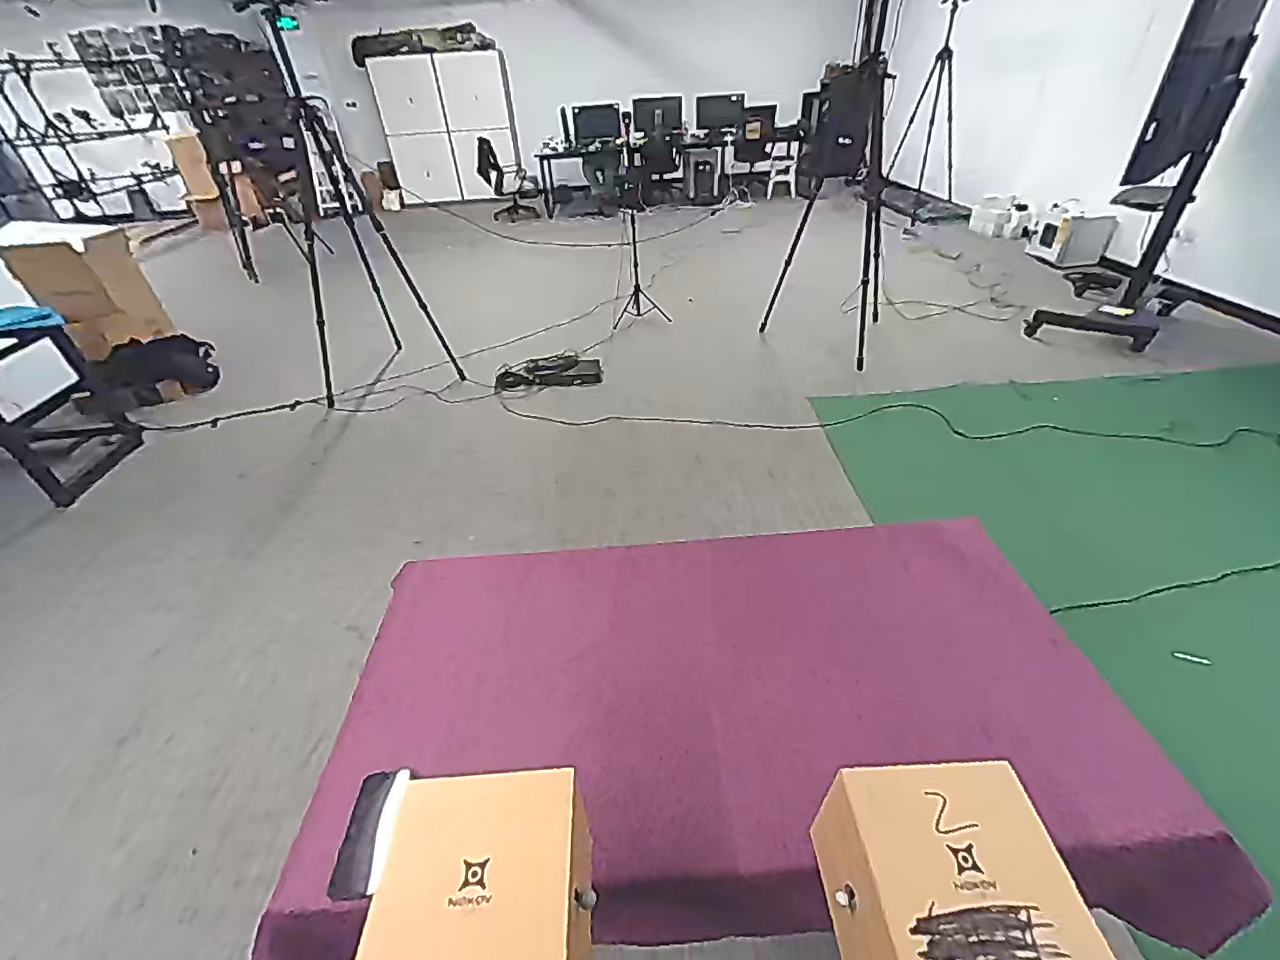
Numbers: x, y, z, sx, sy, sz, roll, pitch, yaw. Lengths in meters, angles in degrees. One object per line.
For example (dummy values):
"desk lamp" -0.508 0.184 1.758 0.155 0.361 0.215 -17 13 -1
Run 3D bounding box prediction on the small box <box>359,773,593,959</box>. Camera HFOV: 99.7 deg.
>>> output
"small box" -0.134 0.401 0.500 0.168 0.176 0.179 -3 38 -1
